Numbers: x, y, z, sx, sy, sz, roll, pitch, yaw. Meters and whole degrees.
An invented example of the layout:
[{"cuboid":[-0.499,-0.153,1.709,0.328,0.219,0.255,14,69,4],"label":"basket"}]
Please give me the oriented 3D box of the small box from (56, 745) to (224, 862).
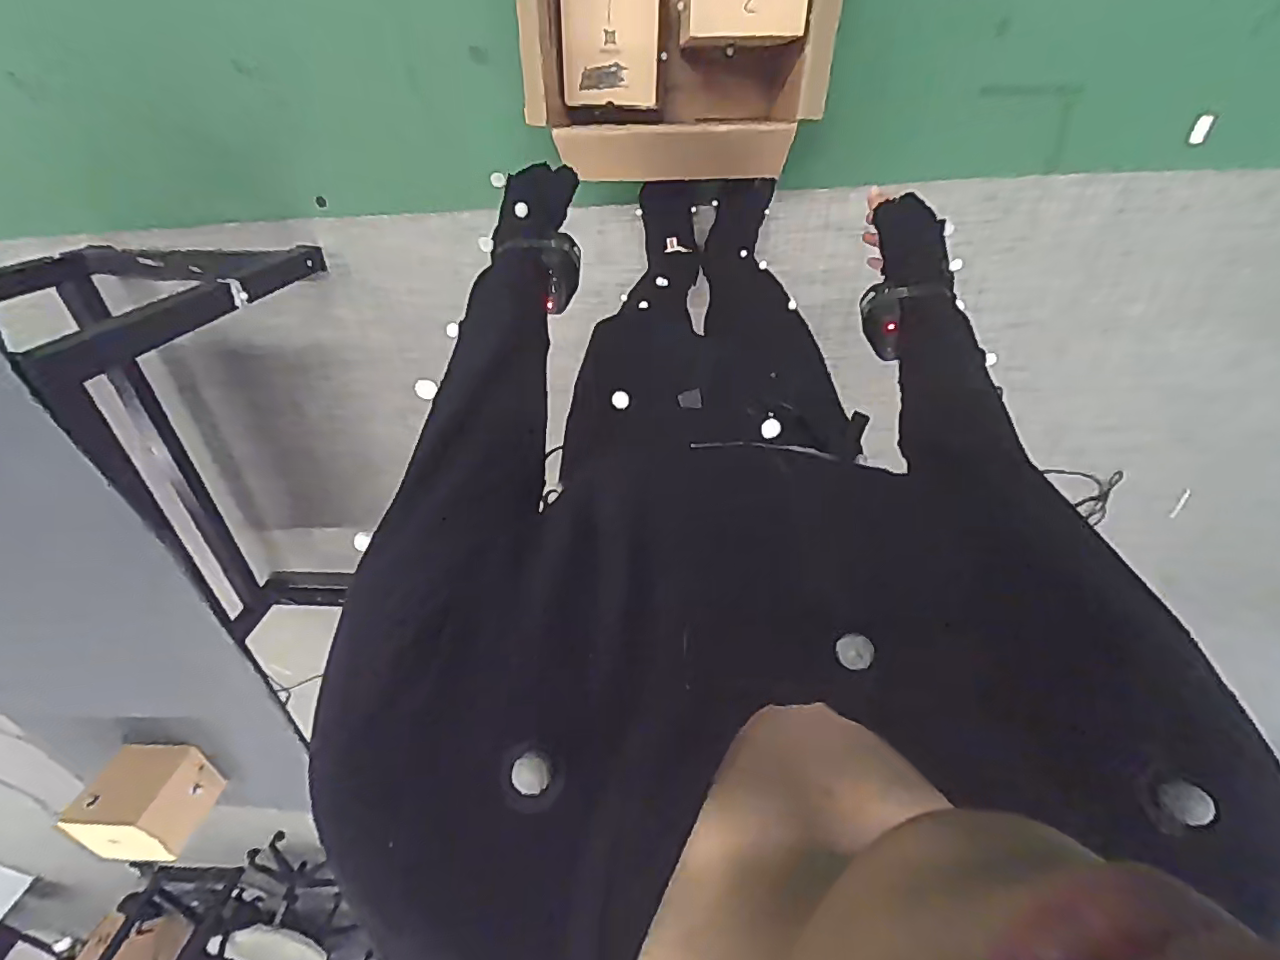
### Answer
[{"cuboid":[-1.079,0.704,1.186,0.179,0.176,0.168,0,124,3],"label":"small box"}]
